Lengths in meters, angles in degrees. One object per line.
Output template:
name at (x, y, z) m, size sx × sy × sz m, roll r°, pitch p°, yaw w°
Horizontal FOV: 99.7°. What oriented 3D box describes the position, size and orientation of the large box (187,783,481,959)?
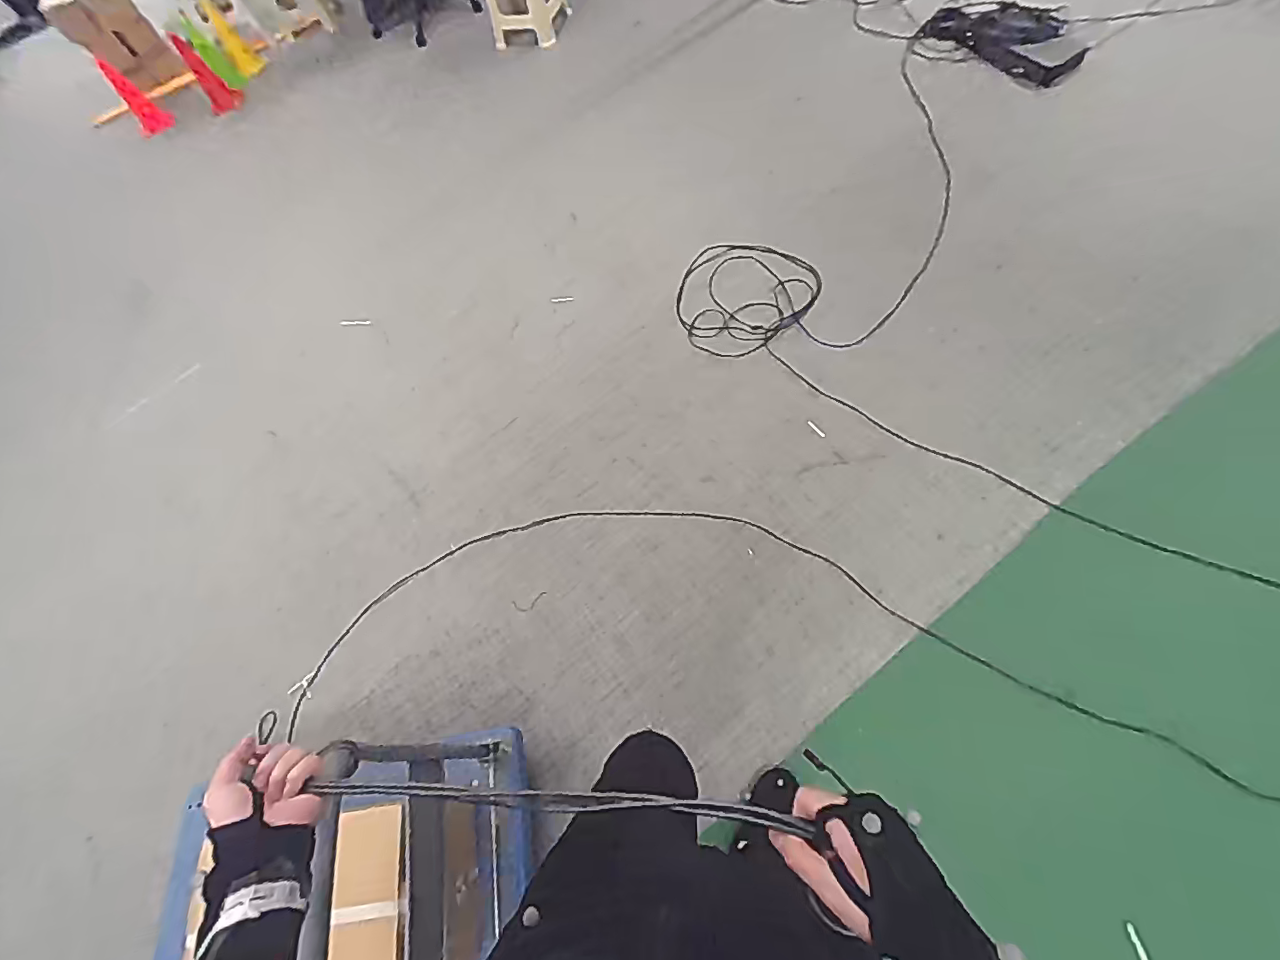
large box at (-0.571, 0.821, 1.071) m, size 0.408 × 0.320 × 0.320 m, roll -13°, pitch 63°, yaw 5°
